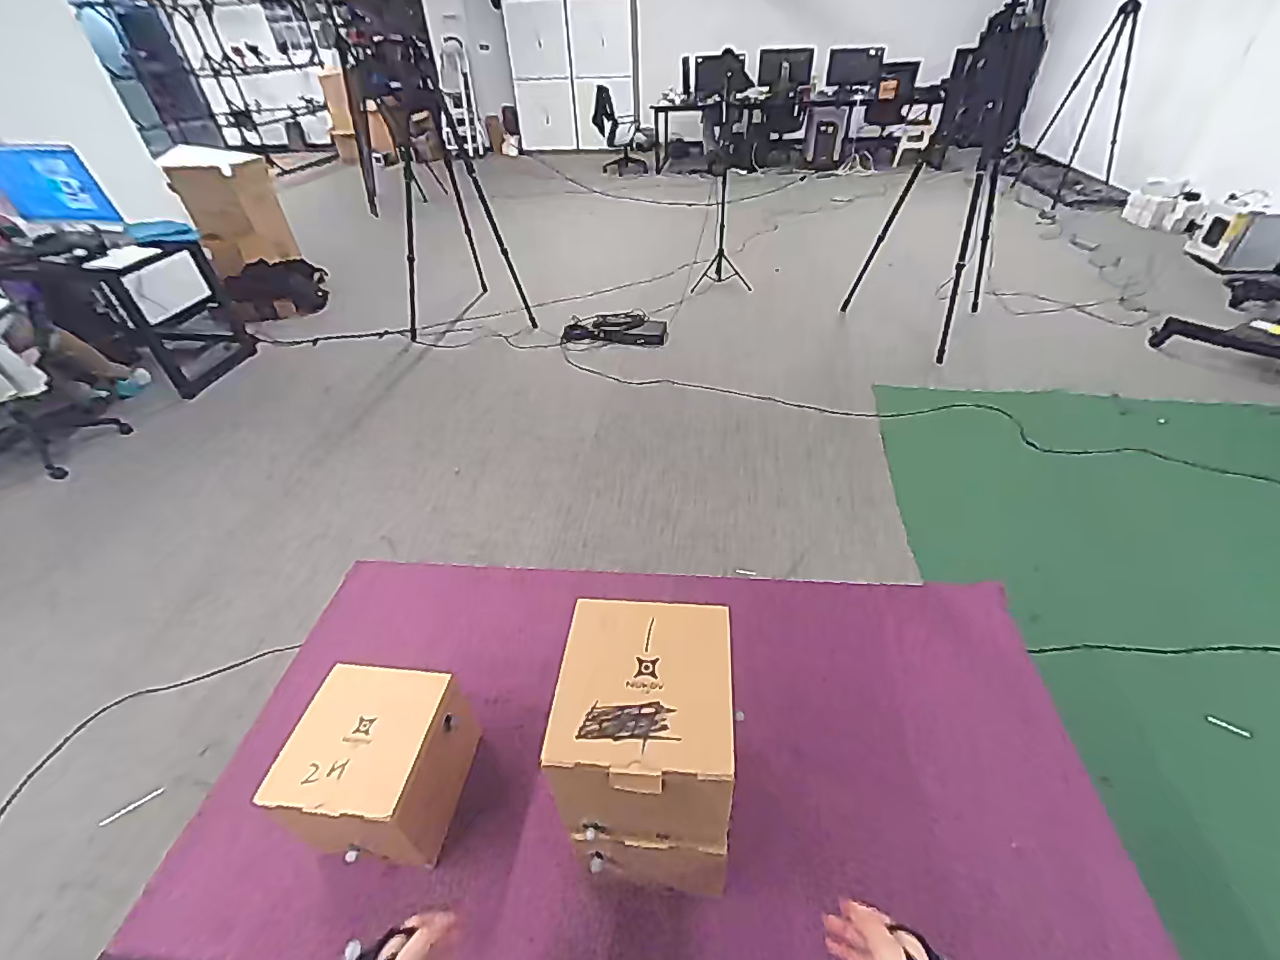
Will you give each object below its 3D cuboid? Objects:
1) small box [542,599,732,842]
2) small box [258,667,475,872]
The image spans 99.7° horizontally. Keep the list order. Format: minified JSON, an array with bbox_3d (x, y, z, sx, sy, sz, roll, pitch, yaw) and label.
[{"bbox_3d":[0.009,0.249,0.564,0.168,0.176,0.179,2,38,6],"label":"small box"},{"bbox_3d":[-0.330,0.370,0.699,0.168,0.176,0.179,2,40,7],"label":"small box"}]
